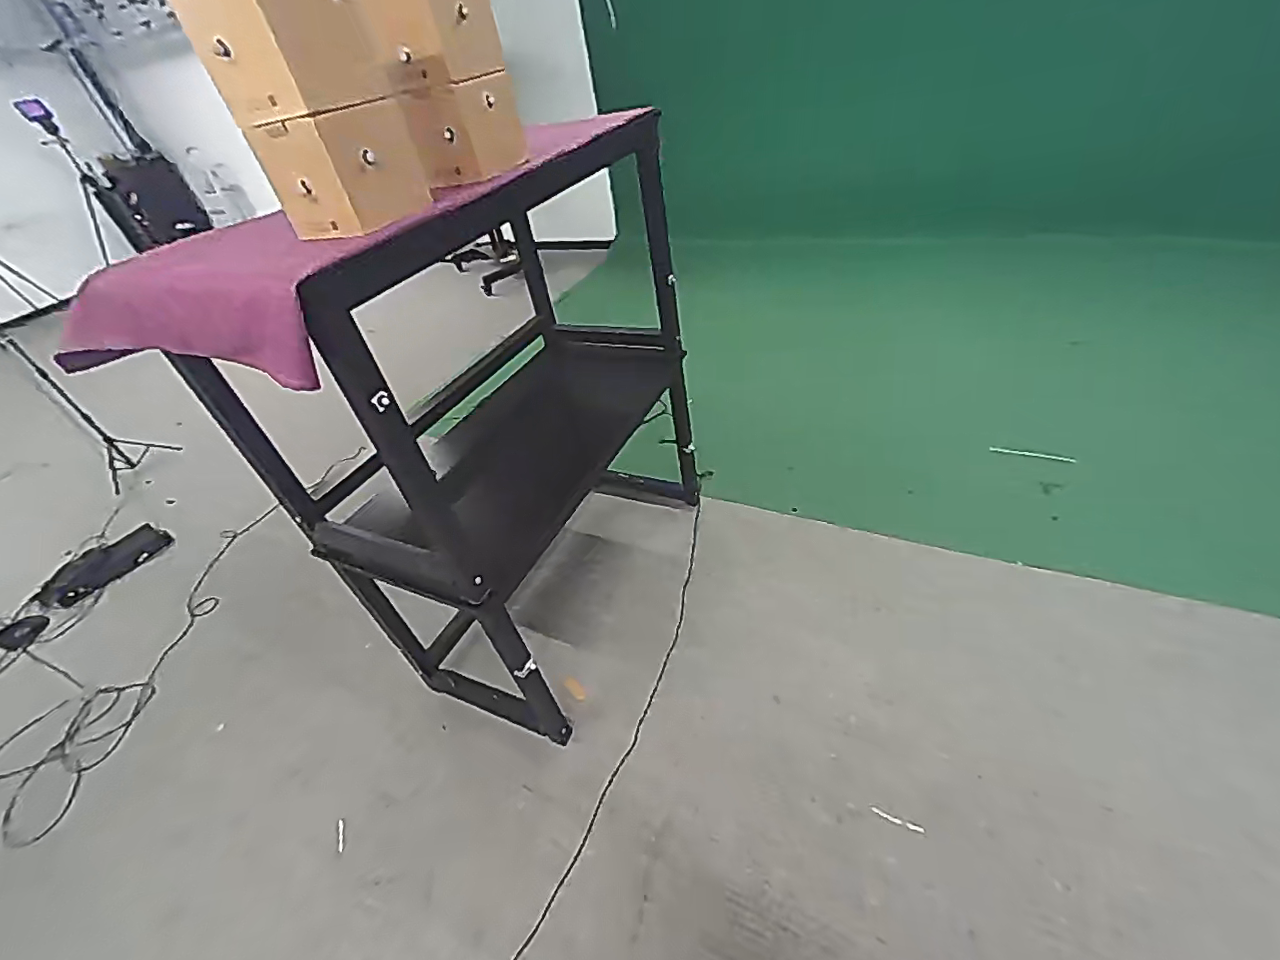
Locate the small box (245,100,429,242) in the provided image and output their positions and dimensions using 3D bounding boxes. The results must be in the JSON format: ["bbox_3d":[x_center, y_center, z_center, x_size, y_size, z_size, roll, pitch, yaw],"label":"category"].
[{"bbox_3d":[-0.493,-0.512,0.910,0.168,0.176,0.179,9,45,24],"label":"small box"}]

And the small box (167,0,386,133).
[{"bbox_3d":[-0.525,-0.635,0.808,0.168,0.176,0.179,8,42,24],"label":"small box"}]

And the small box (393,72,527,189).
[{"bbox_3d":[-0.358,-0.712,1.114,0.168,0.176,0.179,10,44,25],"label":"small box"}]

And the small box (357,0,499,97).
[{"bbox_3d":[-0.386,-0.835,1.010,0.168,0.176,0.179,9,46,24],"label":"small box"}]
